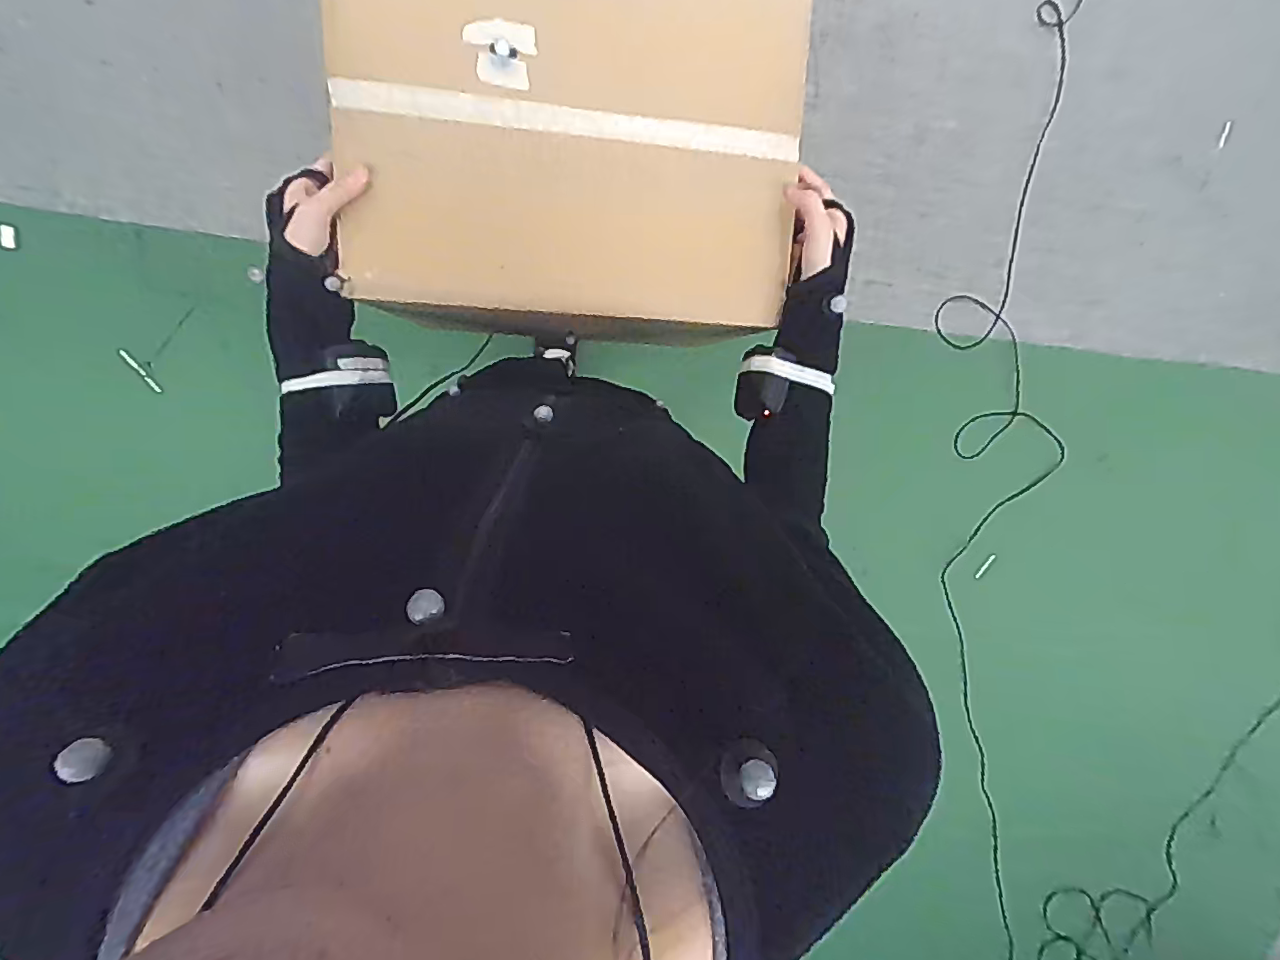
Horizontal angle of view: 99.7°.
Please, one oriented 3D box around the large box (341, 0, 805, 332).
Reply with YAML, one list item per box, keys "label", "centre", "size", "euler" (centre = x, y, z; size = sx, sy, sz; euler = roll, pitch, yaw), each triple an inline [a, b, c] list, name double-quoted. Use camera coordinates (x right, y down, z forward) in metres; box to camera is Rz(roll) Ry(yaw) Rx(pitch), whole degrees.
- label: "large box"
  centre: [-0.072, -0.344, 0.626]
  size: [0.408, 0.320, 0.320]
  euler: [1, 101, -9]
